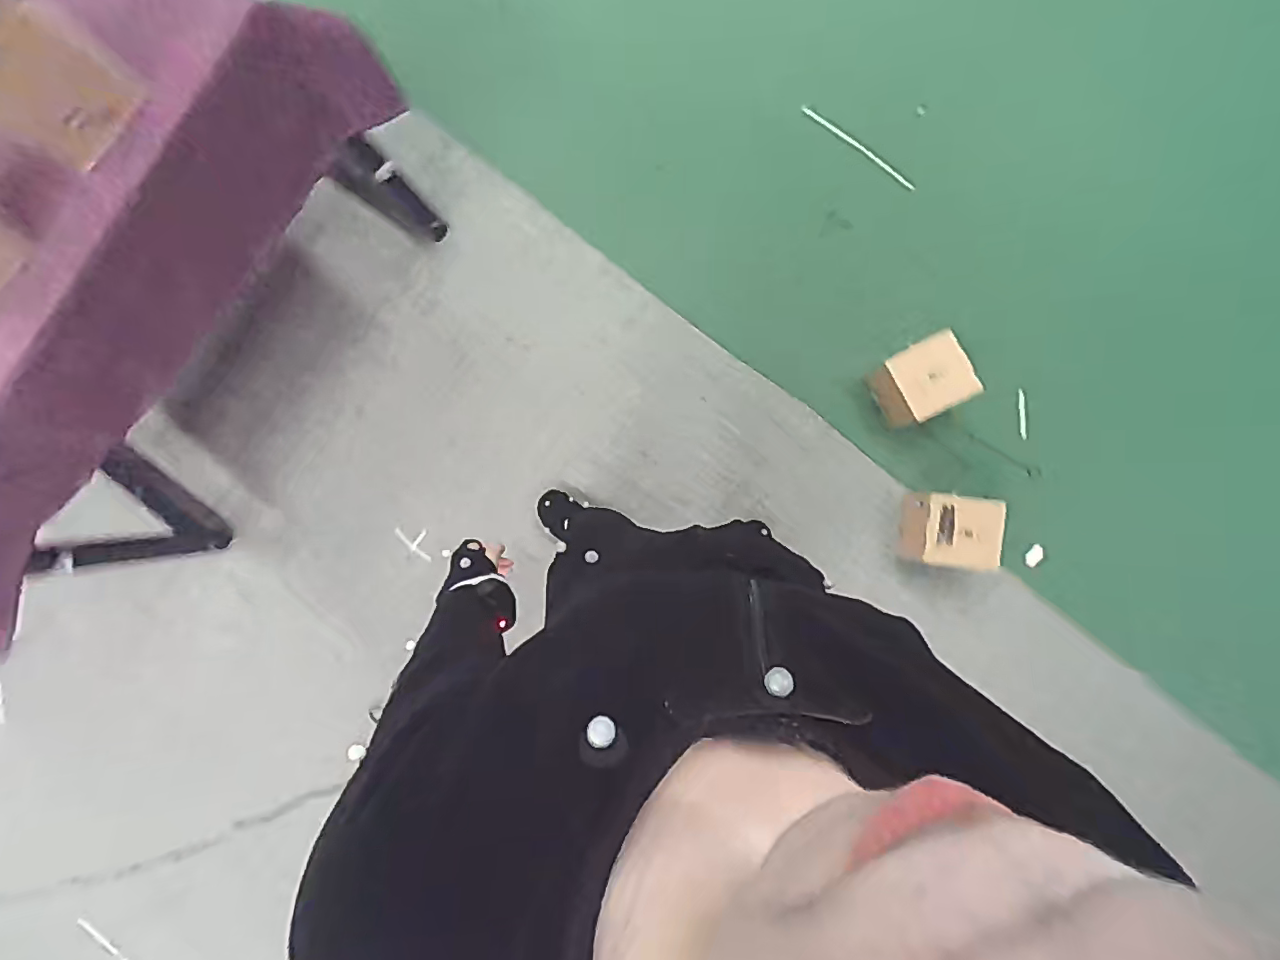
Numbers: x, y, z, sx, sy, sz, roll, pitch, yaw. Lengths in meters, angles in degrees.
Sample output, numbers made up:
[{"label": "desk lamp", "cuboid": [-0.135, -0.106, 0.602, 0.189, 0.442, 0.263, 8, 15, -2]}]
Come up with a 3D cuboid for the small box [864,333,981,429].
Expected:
[{"label": "small box", "cuboid": [0.708, -0.245, 1.374, 0.179, 0.176, 0.168, -26, 86, 3]}]

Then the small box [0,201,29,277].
[{"label": "small box", "cuboid": [-1.085, -0.378, 0.793, 0.168, 0.176, 0.179, 41, 93, 5]}]
